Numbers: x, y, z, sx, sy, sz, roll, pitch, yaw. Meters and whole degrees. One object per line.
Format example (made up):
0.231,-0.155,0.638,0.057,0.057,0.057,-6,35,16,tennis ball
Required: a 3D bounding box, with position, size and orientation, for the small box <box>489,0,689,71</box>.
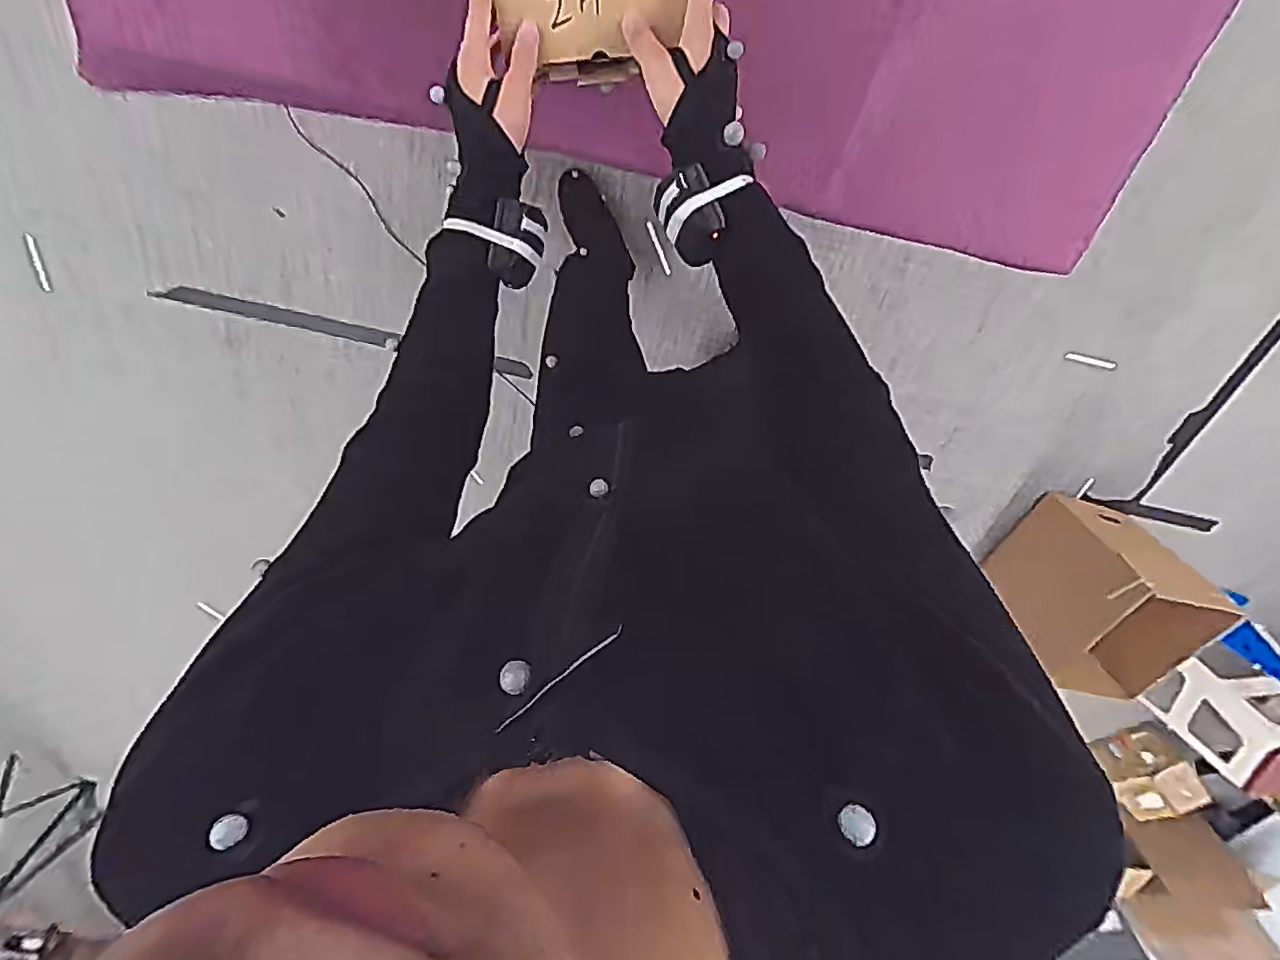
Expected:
-0.045,-0.480,0.476,0.168,0.176,0.179,-3,124,1,small box
